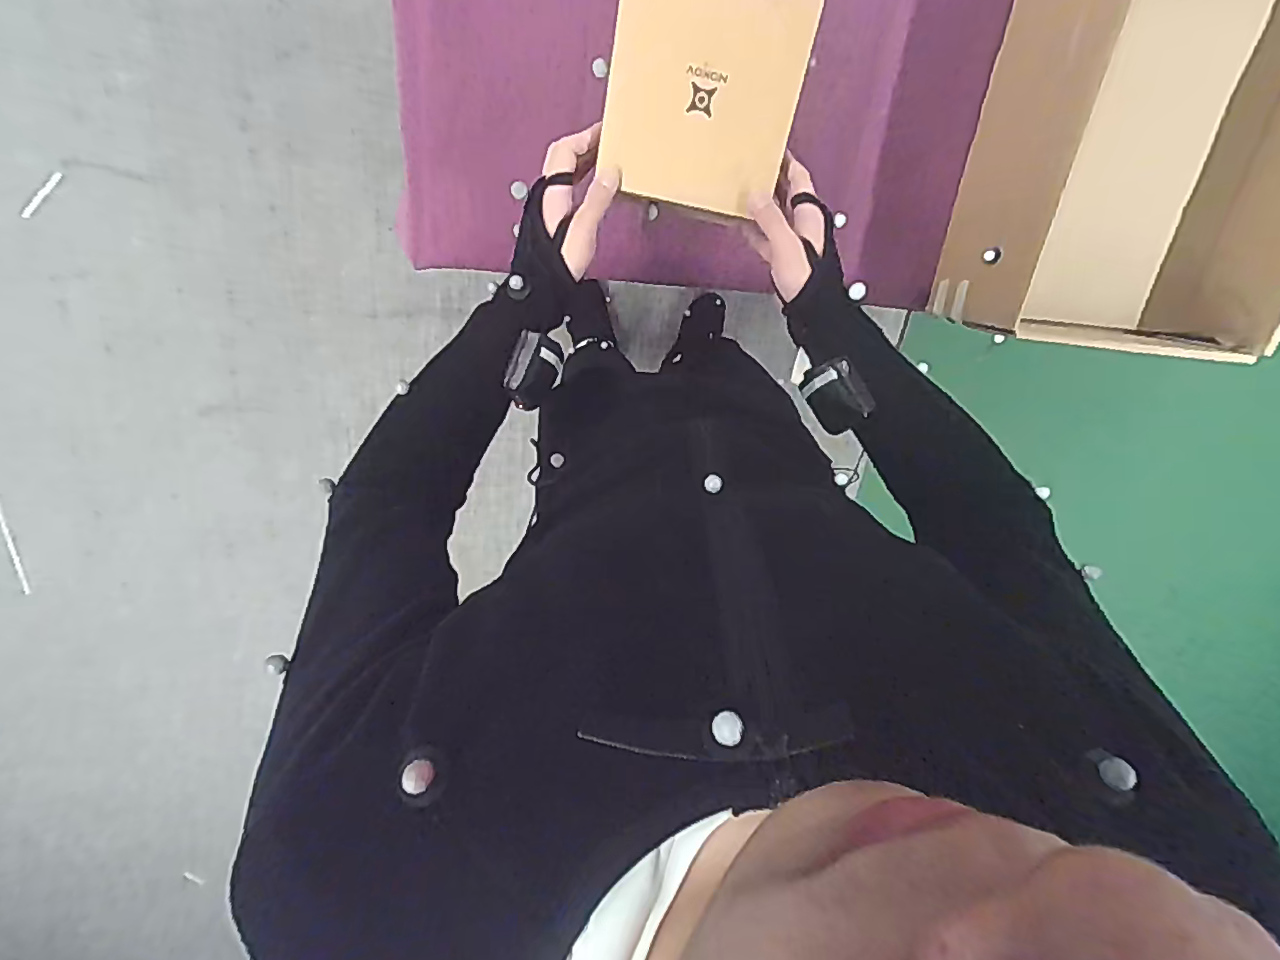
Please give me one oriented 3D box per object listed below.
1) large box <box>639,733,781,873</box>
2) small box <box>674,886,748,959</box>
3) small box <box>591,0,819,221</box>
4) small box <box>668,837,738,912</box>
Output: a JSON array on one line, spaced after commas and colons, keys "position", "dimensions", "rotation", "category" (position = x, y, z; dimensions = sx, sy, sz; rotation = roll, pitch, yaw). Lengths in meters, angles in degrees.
[{"position": [0.252, 1.260, 2.060], "dimensions": [0.408, 0.320, 0.320], "rotation": [-27, 114, 3], "category": "large box"}, {"position": [0.220, 1.411, 1.672], "dimensions": [0.168, 0.176, 0.179], "rotation": [-26, 112, 2], "category": "small box"}, {"position": [0.050, -0.367, 0.537], "dimensions": [0.168, 0.176, 0.179], "rotation": [9, 112, -5], "category": "small box"}, {"position": [0.205, 1.358, 1.825], "dimensions": [0.179, 0.176, 0.168], "rotation": [-28, 113, 4], "category": "small box"}]
